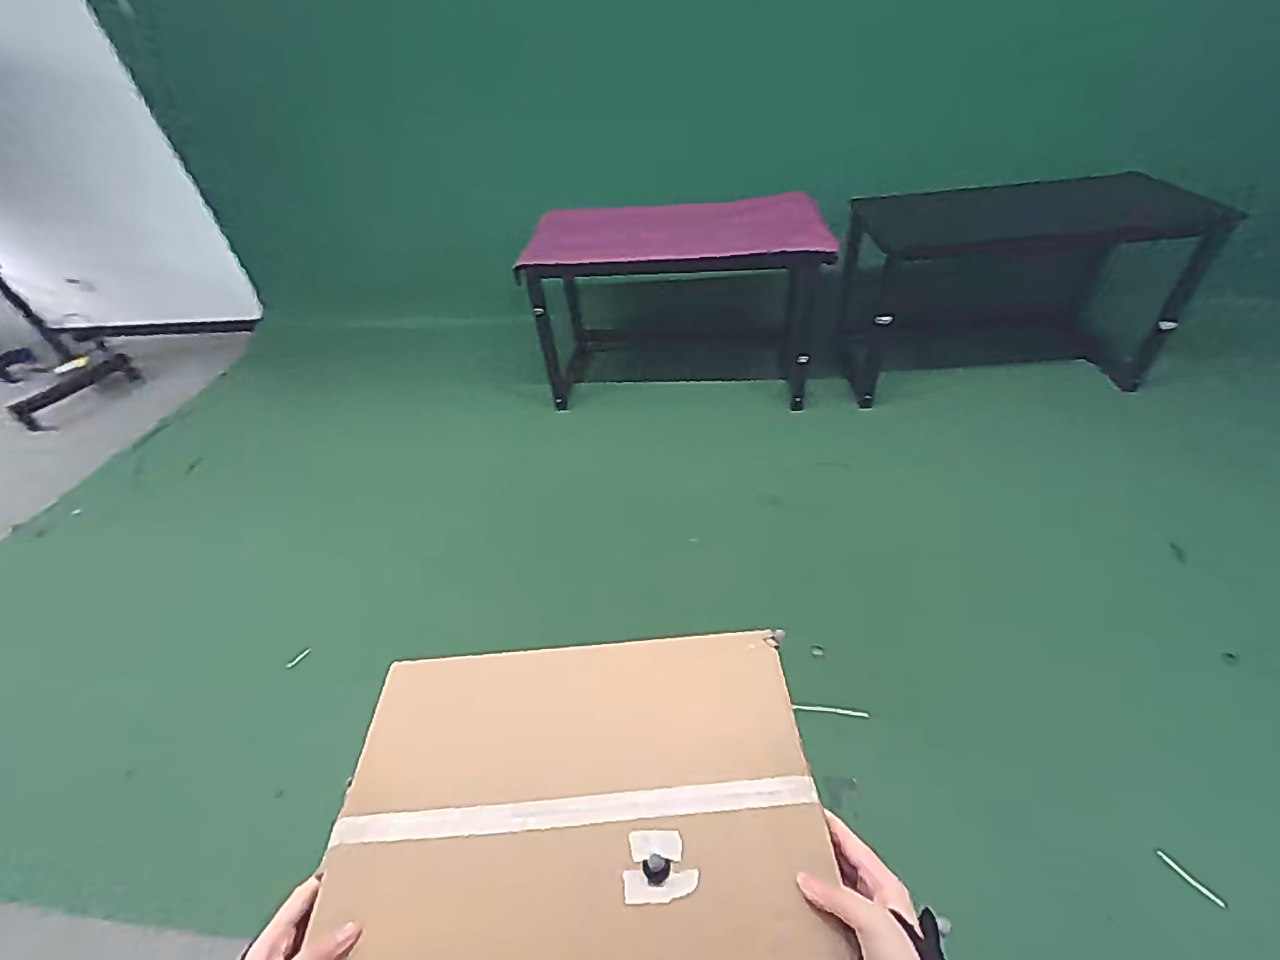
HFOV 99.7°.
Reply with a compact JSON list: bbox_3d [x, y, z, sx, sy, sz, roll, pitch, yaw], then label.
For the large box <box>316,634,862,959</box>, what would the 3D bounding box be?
[{"bbox_3d":[-0.040,0.393,0.565,0.408,0.320,0.320,-4,42,0],"label":"large box"}]
